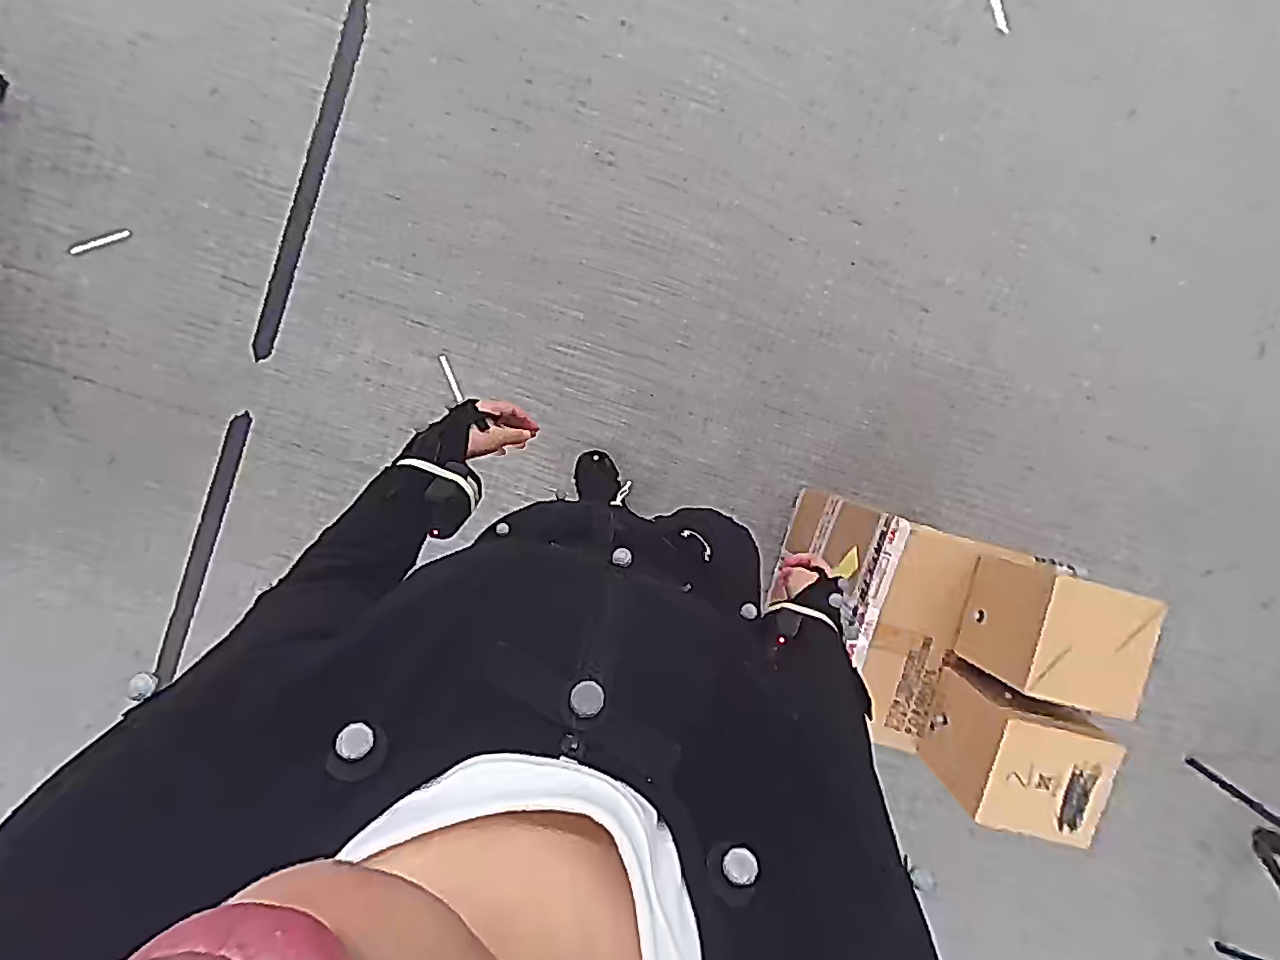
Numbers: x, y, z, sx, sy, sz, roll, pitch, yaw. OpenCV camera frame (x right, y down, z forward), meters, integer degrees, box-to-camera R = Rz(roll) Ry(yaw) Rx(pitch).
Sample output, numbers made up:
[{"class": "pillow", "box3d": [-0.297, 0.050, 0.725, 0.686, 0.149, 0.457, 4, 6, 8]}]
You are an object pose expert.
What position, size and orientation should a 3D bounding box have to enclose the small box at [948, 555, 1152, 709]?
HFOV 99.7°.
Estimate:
[{"class": "small box", "box3d": [0.624, 0.232, 0.839, 0.168, 0.176, 0.179, 15, 92, -3]}]
